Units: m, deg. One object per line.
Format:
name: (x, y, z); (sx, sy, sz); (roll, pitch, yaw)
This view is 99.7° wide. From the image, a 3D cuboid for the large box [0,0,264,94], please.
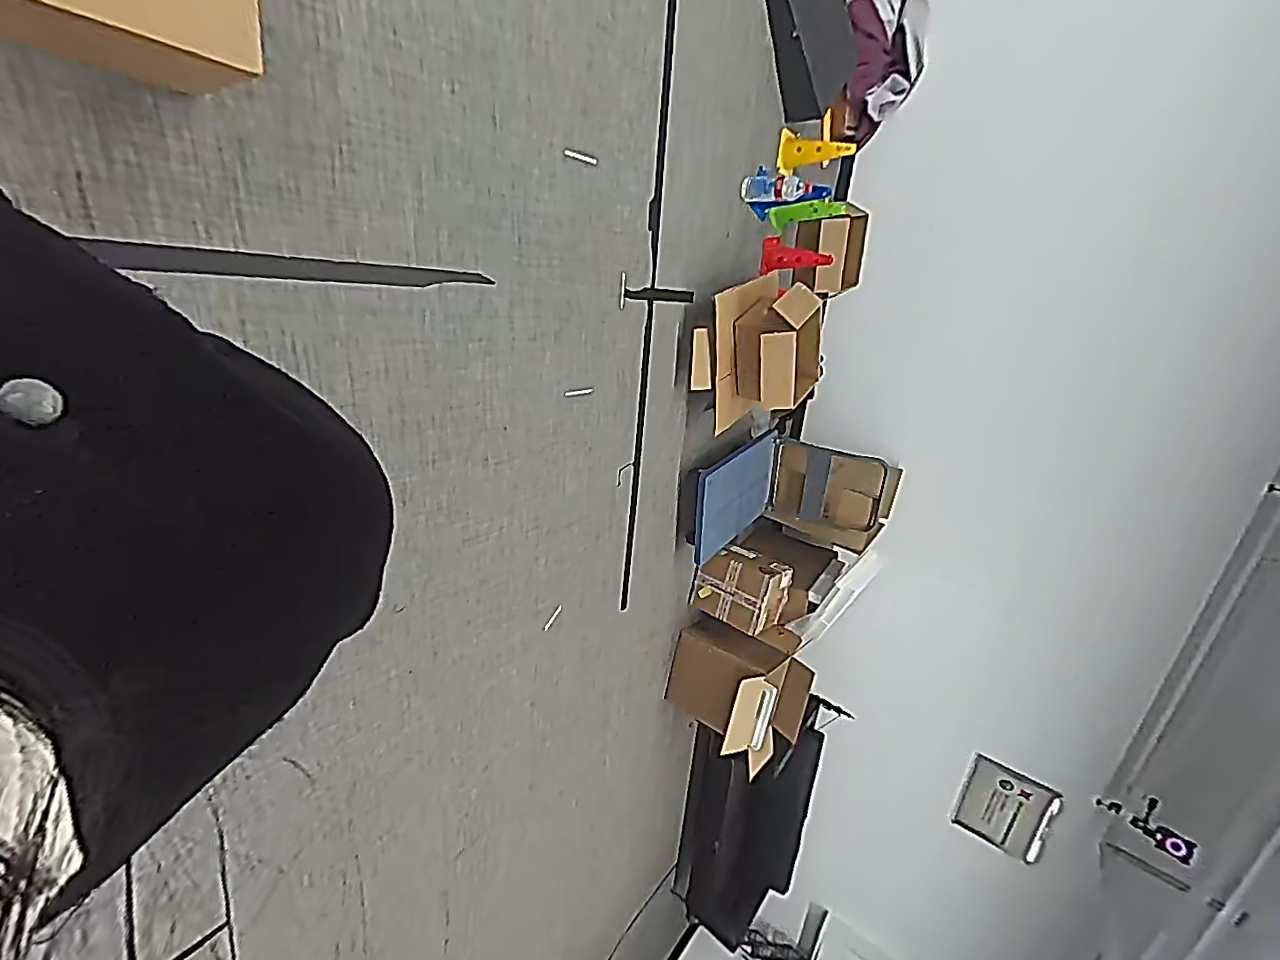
large box: (-0.841, -0.809, 0.768); (0.408, 0.320, 0.320); (-18, 121, -51)
